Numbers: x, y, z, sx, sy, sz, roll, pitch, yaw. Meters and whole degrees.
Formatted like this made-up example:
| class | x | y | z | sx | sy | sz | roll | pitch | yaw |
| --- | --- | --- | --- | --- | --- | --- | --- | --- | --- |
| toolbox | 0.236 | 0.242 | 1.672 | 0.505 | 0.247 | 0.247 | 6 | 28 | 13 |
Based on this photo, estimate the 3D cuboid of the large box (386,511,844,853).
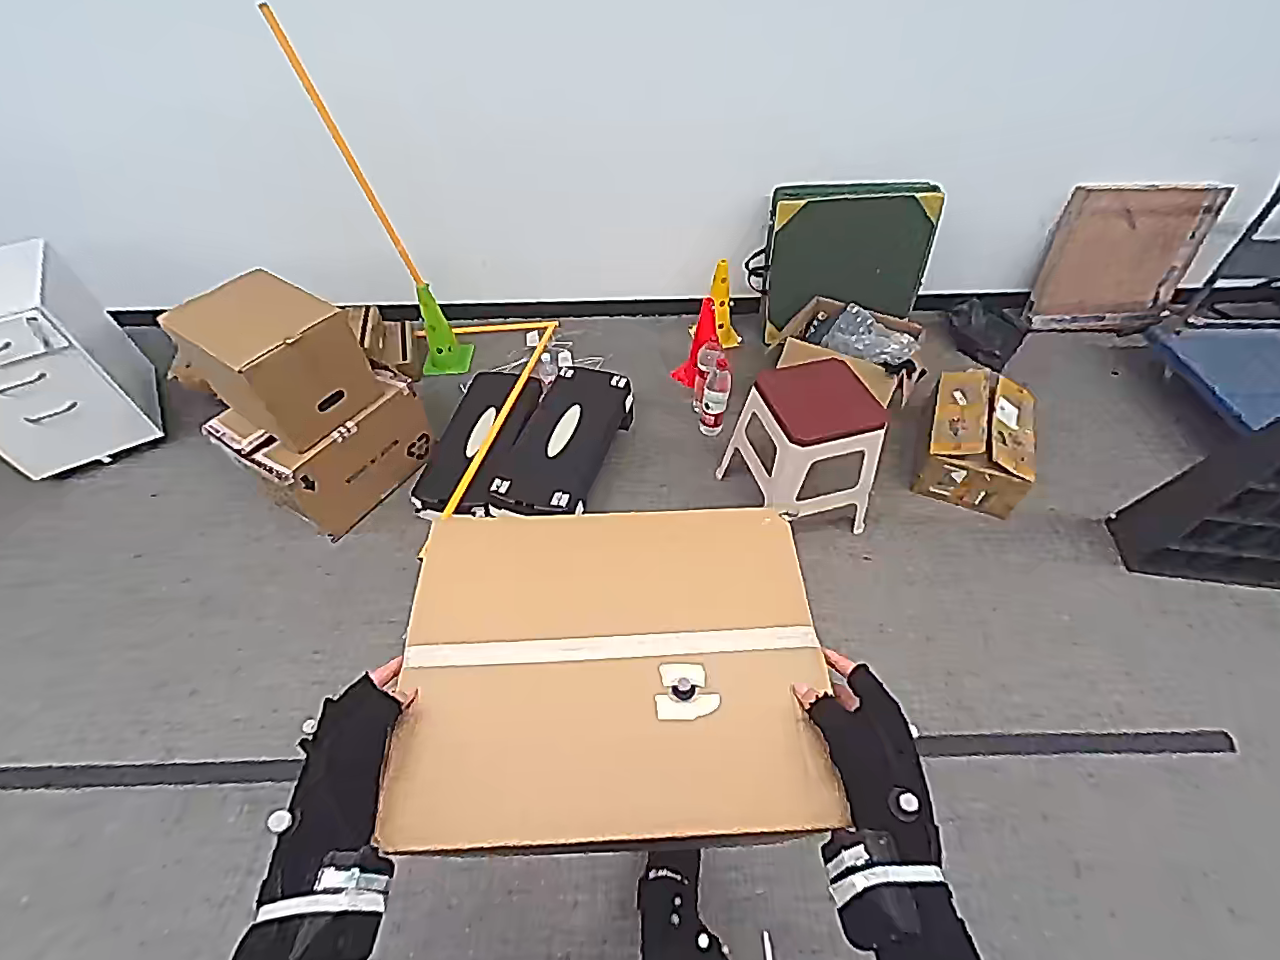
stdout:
| class | x | y | z | sx | sy | sz | roll | pitch | yaw |
| --- | --- | --- | --- | --- | --- | --- | --- | --- | --- |
| large box | -0.028 | 0.256 | 0.668 | 0.408 | 0.320 | 0.320 | -2 | 54 | -1 |
